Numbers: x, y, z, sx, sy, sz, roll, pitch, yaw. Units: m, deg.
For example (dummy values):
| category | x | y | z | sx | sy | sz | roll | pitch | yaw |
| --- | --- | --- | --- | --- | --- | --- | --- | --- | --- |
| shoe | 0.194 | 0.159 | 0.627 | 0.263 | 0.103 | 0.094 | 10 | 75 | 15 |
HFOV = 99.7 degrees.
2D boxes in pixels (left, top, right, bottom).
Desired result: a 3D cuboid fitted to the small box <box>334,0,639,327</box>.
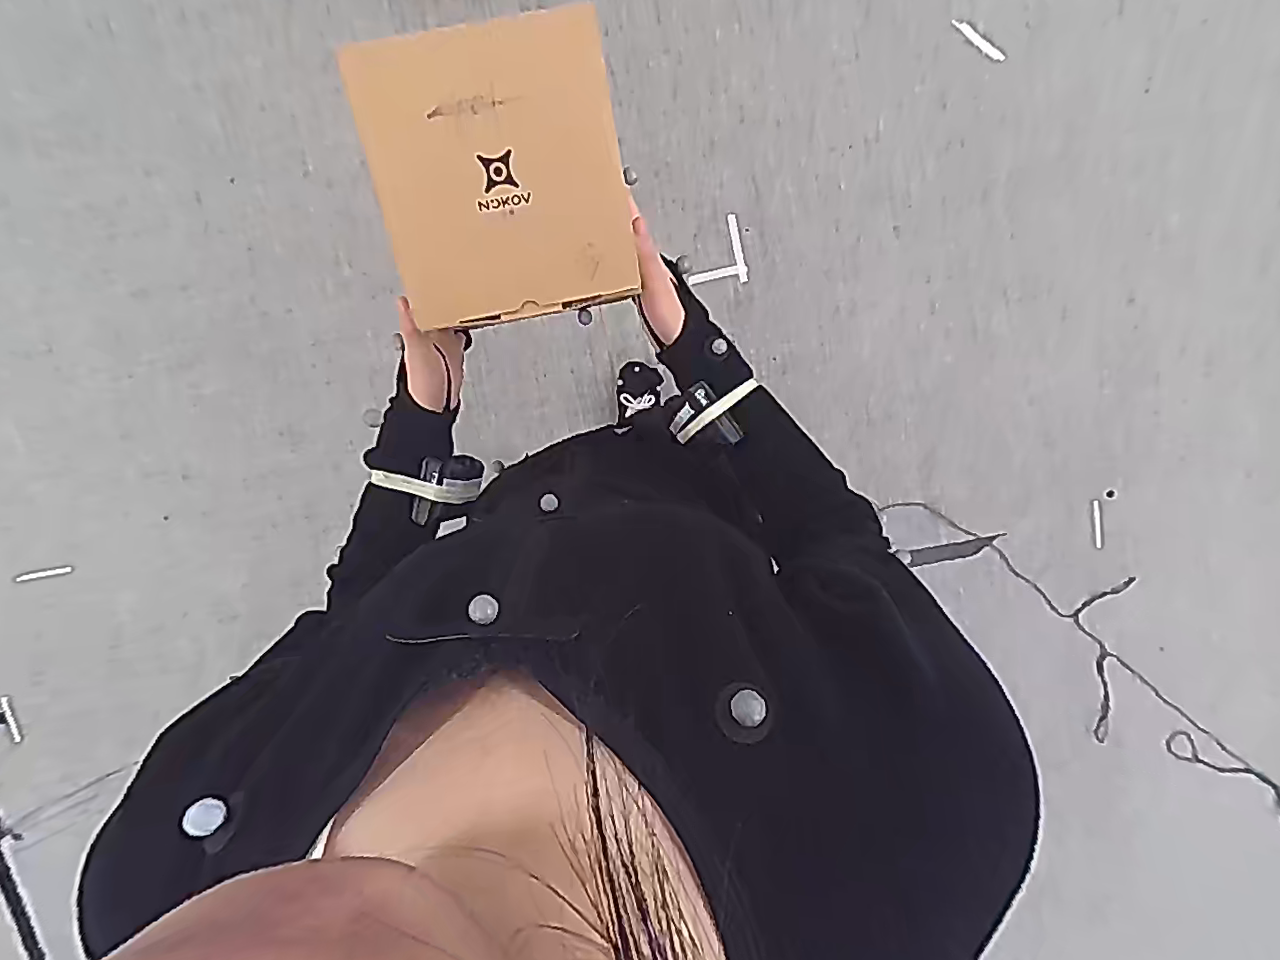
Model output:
| category | x | y | z | sx | sy | sz | roll | pitch | yaw |
| --- | --- | --- | --- | --- | --- | --- | --- | --- | --- |
| small box | -0.100 | -0.228 | 0.435 | 0.168 | 0.176 | 0.179 | -13 | 106 | -2 |
